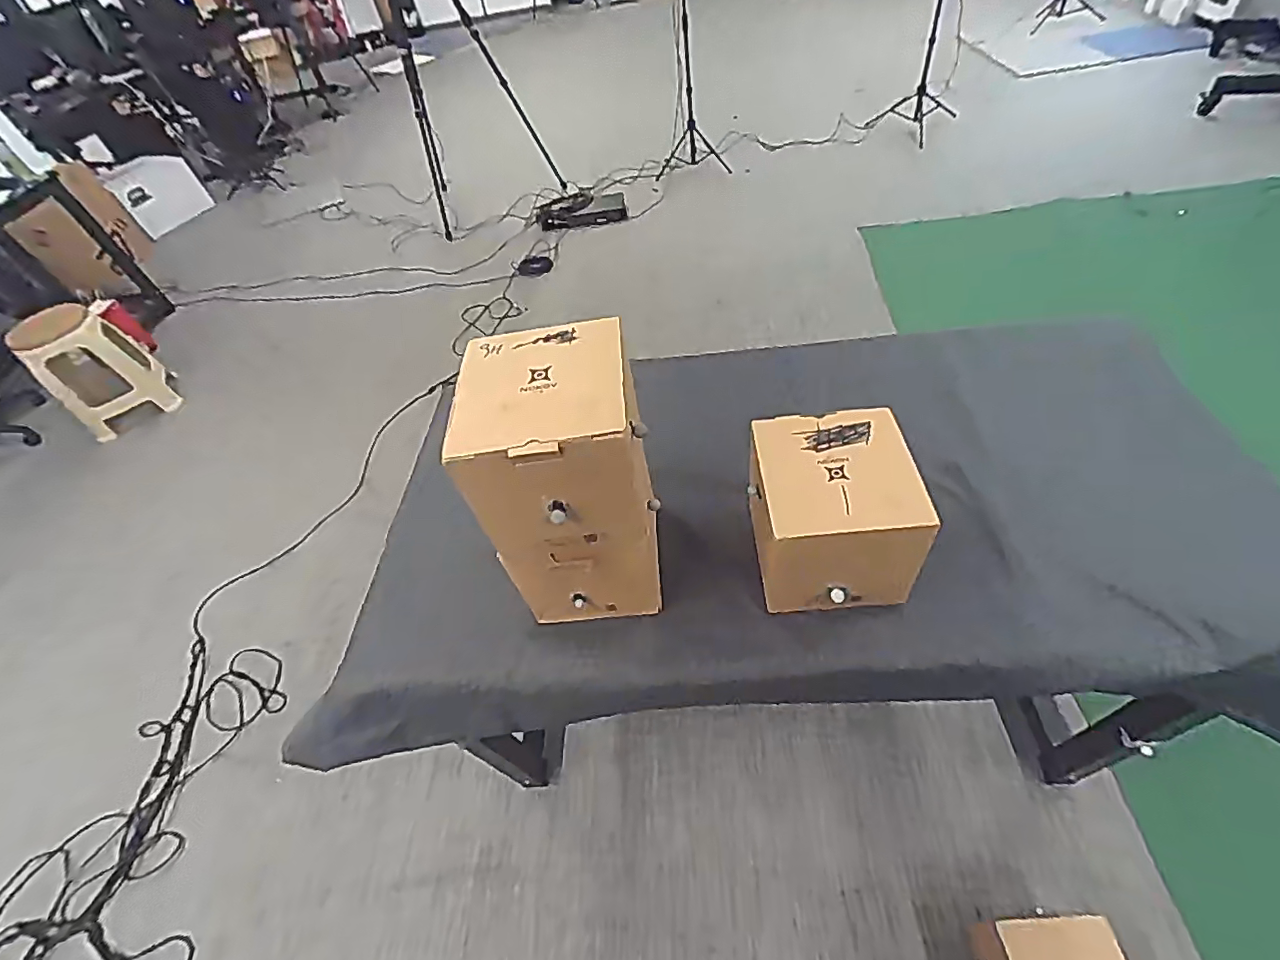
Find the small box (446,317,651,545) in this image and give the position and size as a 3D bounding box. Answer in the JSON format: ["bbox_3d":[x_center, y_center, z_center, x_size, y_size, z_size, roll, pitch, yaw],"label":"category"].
[{"bbox_3d":[-0.083,-0.043,0.578,0.168,0.176,0.179,-8,50,4],"label":"small box"}]

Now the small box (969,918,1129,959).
[{"bbox_3d":[0.680,0.821,0.881,0.179,0.176,0.168,-7,49,6],"label":"small box"}]

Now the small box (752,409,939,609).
[{"bbox_3d":[0.230,0.038,0.662,0.168,0.176,0.179,-6,49,6],"label":"small box"}]

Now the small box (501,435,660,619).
[{"bbox_3d":[-0.065,0.060,0.704,0.168,0.176,0.179,-6,50,5],"label":"small box"}]
